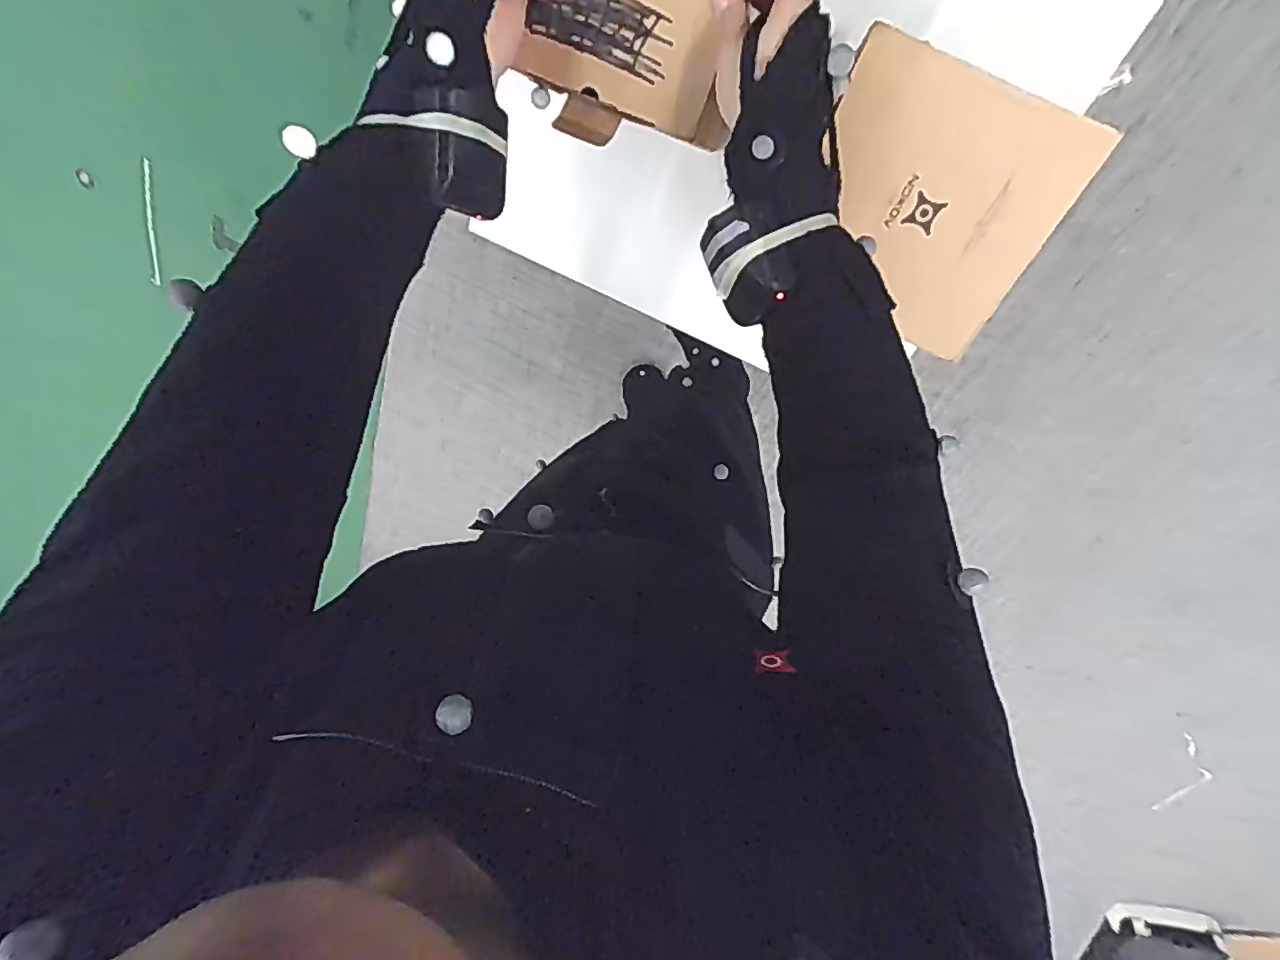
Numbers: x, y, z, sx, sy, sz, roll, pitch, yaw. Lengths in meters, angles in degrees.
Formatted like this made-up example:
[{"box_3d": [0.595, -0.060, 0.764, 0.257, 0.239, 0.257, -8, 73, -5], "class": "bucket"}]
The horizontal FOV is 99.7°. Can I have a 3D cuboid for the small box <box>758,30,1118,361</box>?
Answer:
[{"box_3d": [0.216, -0.227, 0.452, 0.179, 0.176, 0.168, 24, 122, 0], "class": "small box"}]
